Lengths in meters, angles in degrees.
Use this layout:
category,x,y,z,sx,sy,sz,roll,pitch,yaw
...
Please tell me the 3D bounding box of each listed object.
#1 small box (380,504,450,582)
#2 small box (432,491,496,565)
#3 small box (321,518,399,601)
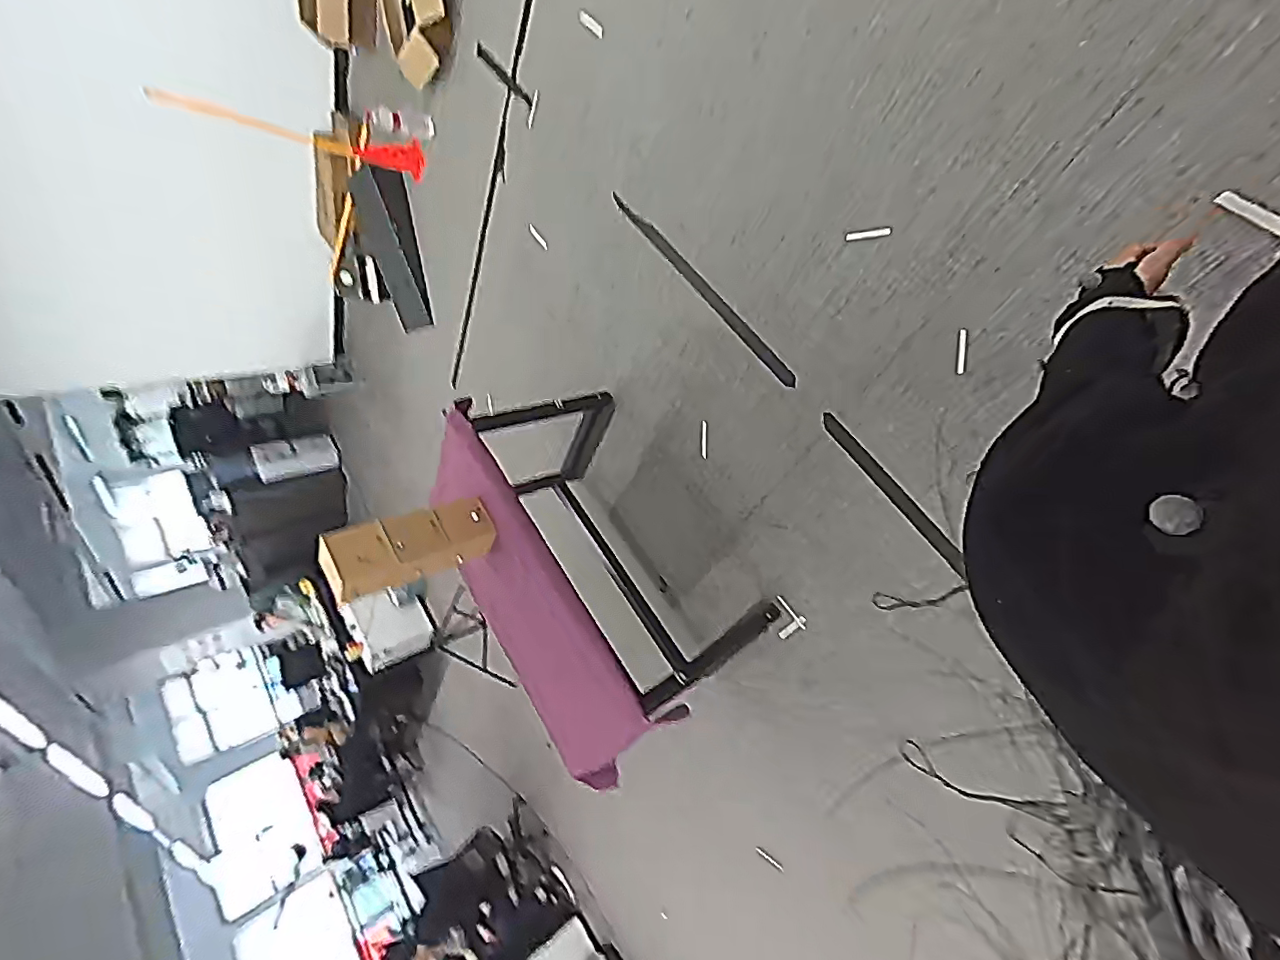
category,x,y,z,sx,sy,sz,roll,pitch,yaw
small box,-0.740,0.203,1.769,0.168,0.176,0.179,57,139,16
small box,-0.621,0.165,1.876,0.168,0.176,0.179,55,138,18
small box,-0.857,0.239,1.661,0.168,0.176,0.179,56,139,16
